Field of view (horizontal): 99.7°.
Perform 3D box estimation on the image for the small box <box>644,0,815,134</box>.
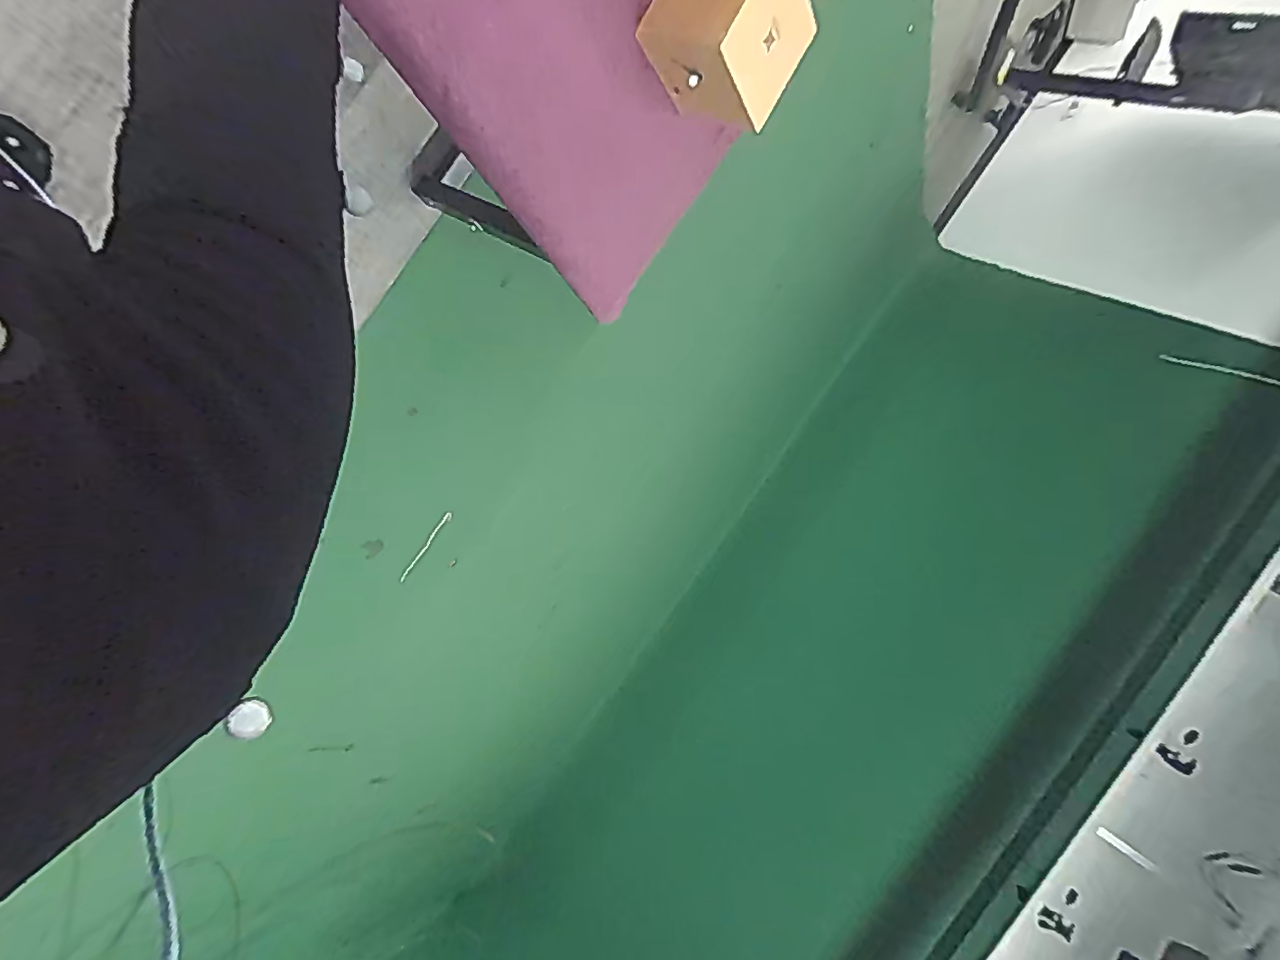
[{"bbox_3d":[0.129,-0.670,0.816,0.179,0.176,0.168,-60,149,7],"label":"small box"}]
